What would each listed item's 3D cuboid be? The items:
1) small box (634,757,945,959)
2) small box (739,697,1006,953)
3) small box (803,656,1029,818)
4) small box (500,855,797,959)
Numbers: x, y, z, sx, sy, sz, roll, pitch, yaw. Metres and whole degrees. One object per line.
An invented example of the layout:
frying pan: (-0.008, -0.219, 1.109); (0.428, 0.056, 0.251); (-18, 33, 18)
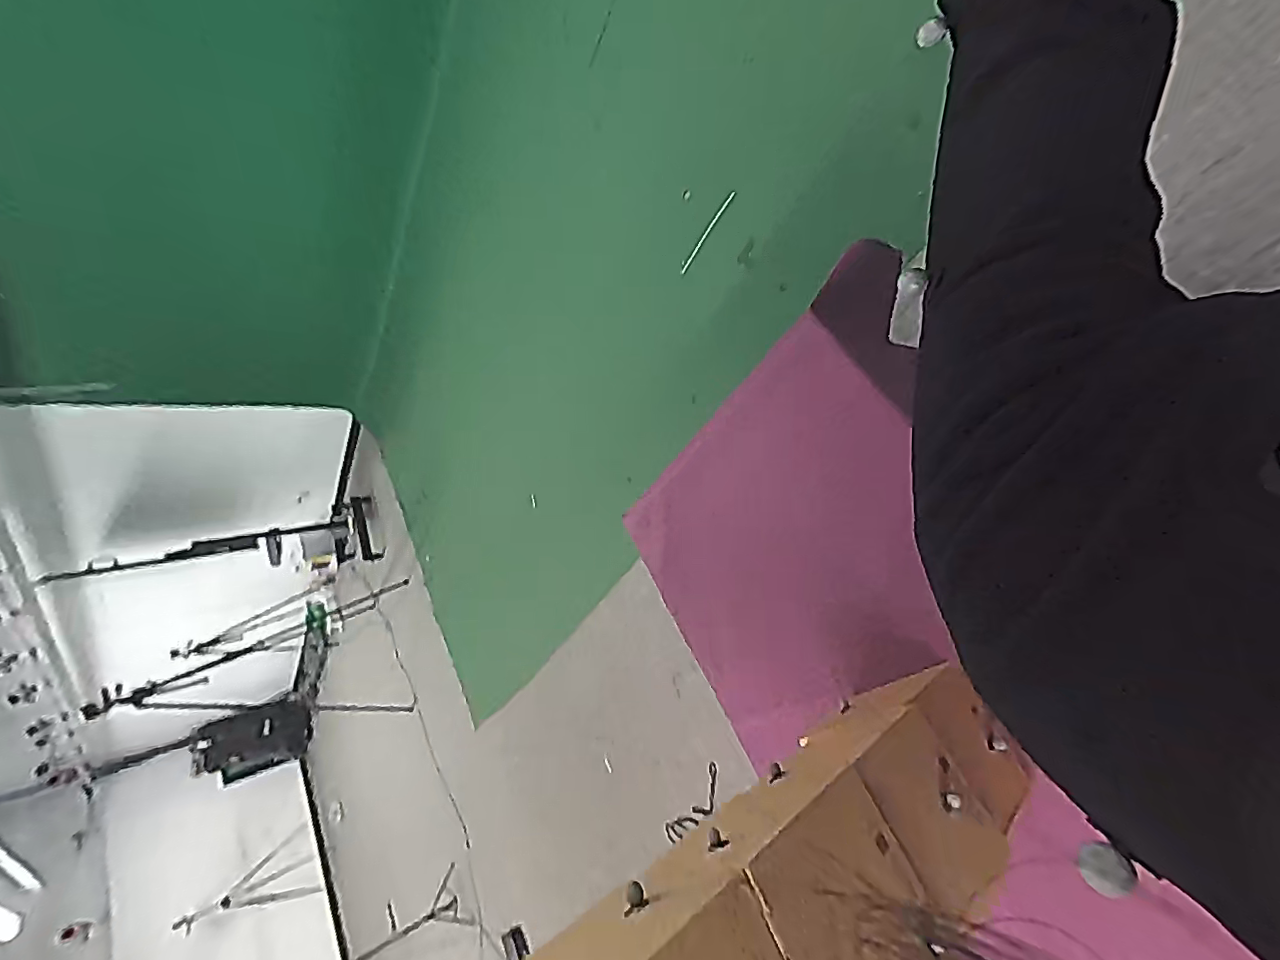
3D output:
small box: (0.131, 0.370, 0.472); (0.179, 0.176, 0.168); (-48, 61, 41)
small box: (0.248, 0.364, 0.586); (0.179, 0.176, 0.168); (-48, 62, 40)
small box: (0.359, 0.355, 0.708); (0.179, 0.176, 0.168); (-46, 63, 40)
small box: (0.008, 0.388, 0.365); (0.179, 0.176, 0.168); (-46, 63, 42)
